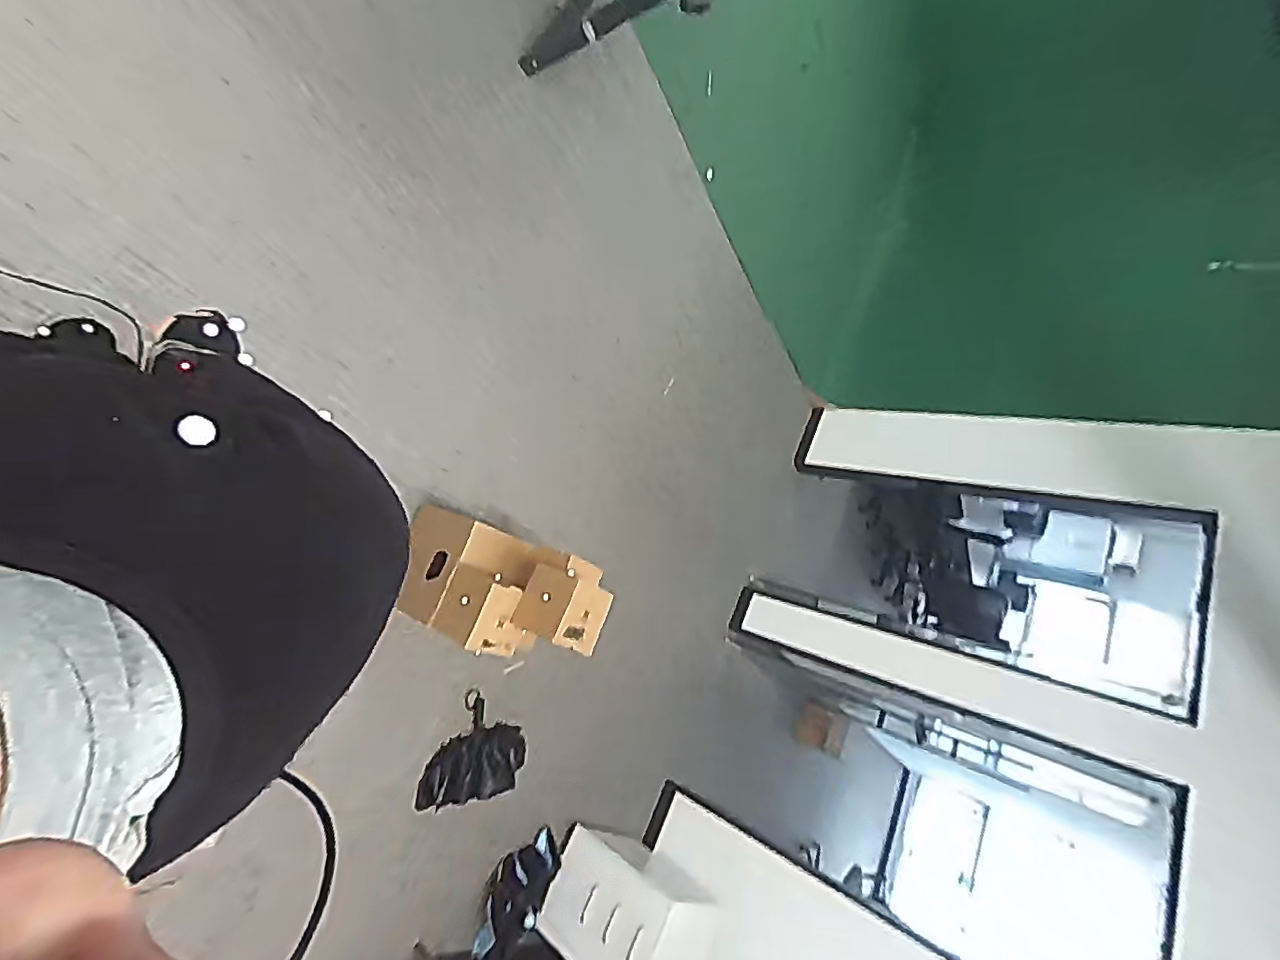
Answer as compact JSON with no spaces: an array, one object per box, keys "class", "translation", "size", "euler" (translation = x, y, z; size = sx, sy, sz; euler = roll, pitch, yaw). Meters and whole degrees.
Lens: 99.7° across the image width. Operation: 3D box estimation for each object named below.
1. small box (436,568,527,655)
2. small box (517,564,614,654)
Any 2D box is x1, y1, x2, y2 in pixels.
[{"class":"small box","translation":[-0.422,0.354,1.473],"size":[0.168,0.176,0.179],"euler":[34,73,-48]},{"class":"small box","translation":[-0.208,0.348,1.469],"size":[0.168,0.176,0.179],"euler":[41,64,-47]}]
